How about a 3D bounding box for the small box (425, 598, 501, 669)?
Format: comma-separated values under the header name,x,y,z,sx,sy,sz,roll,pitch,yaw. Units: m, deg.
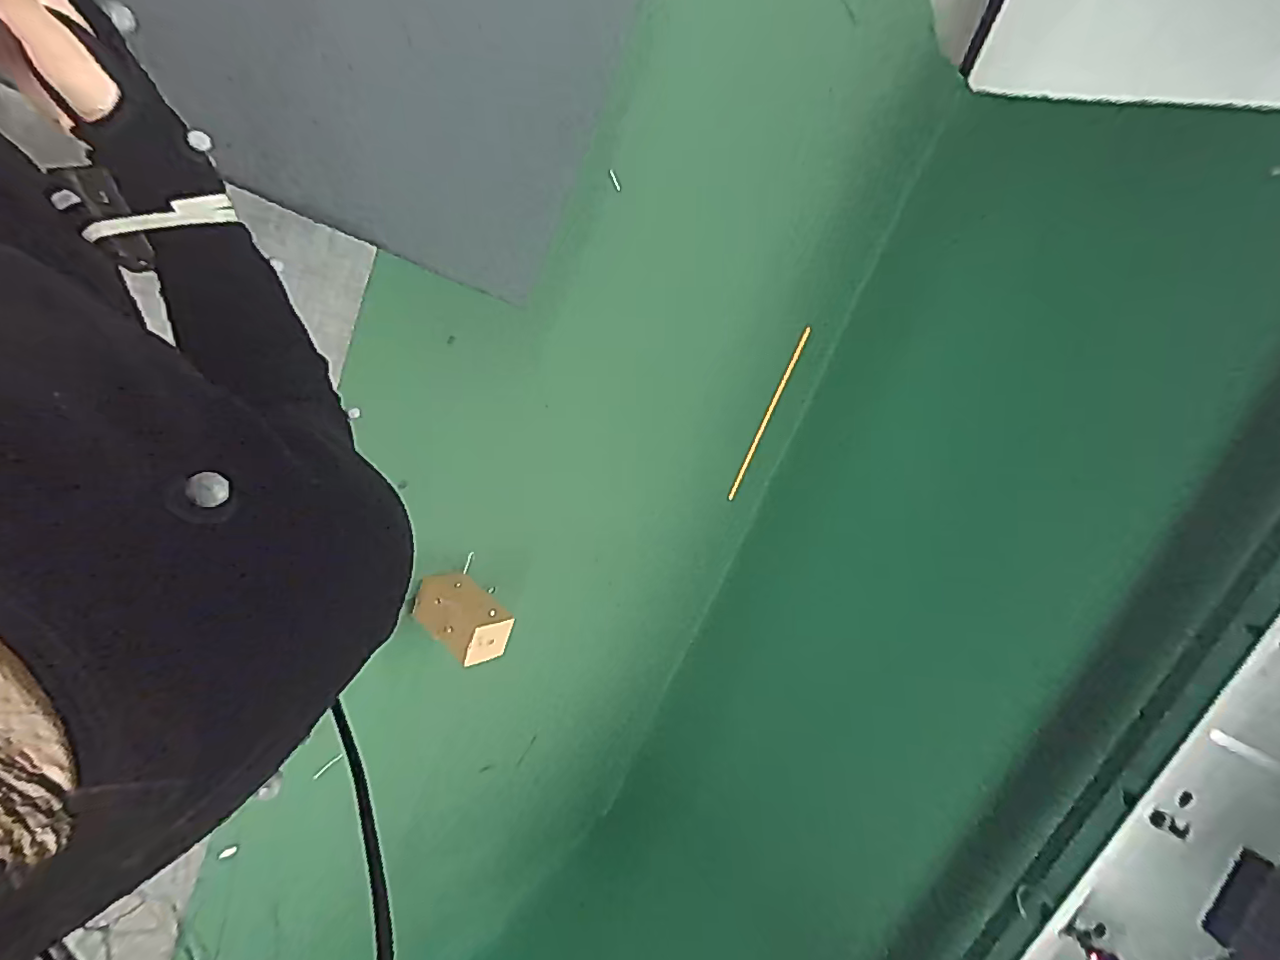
name,x,y,z,sx,sy,sz,roll,pitch,yaw
small box,-0.640,0.544,1.950,0.179,0.176,0.168,2,114,-55
